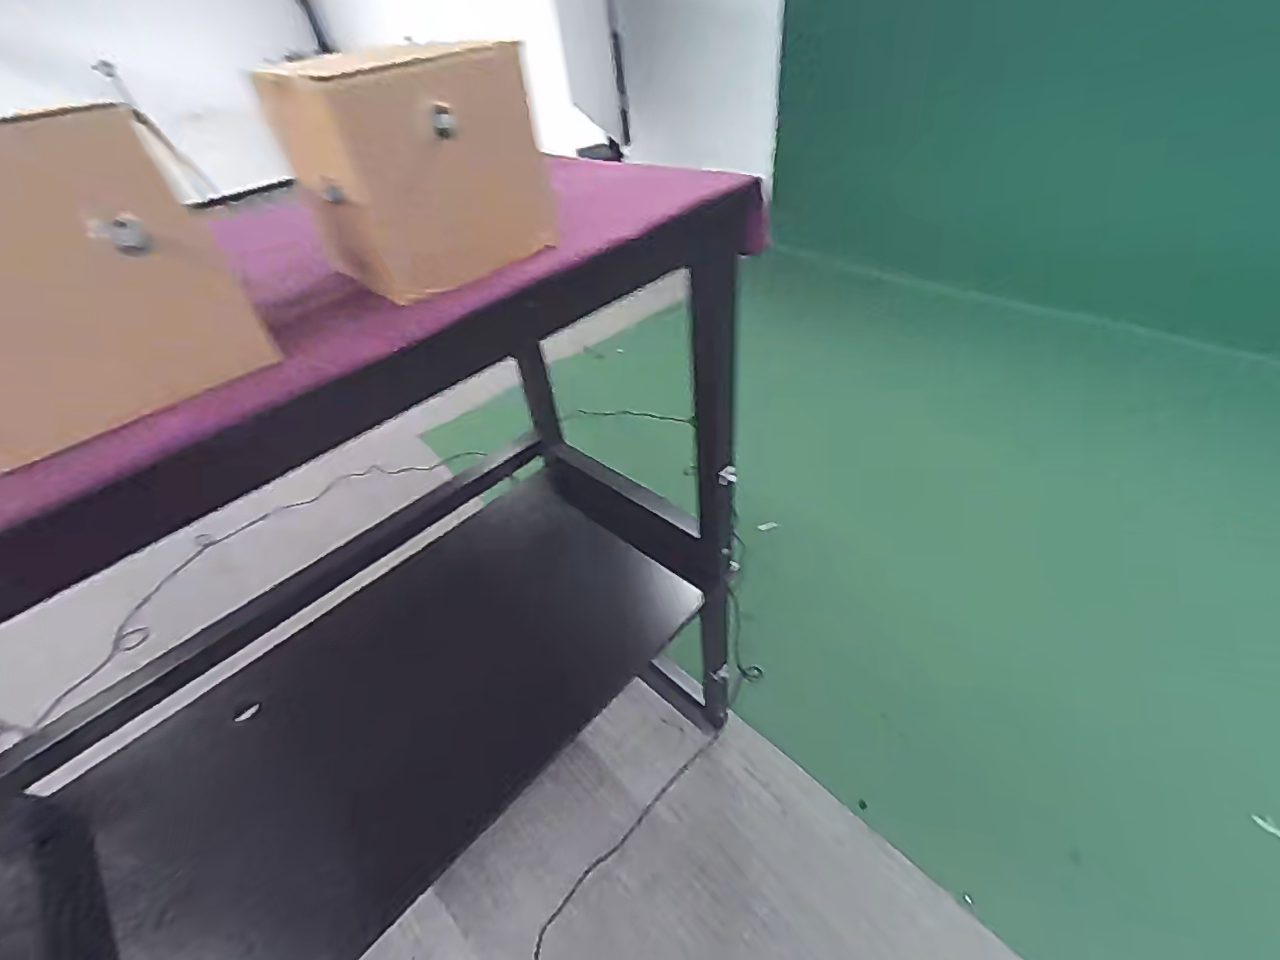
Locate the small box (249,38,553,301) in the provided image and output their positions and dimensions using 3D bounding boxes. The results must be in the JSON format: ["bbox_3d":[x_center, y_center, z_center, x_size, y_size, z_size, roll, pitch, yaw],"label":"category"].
[{"bbox_3d":[-0.204,-0.287,0.500,0.179,0.176,0.168,-36,51,-27],"label":"small box"}]
